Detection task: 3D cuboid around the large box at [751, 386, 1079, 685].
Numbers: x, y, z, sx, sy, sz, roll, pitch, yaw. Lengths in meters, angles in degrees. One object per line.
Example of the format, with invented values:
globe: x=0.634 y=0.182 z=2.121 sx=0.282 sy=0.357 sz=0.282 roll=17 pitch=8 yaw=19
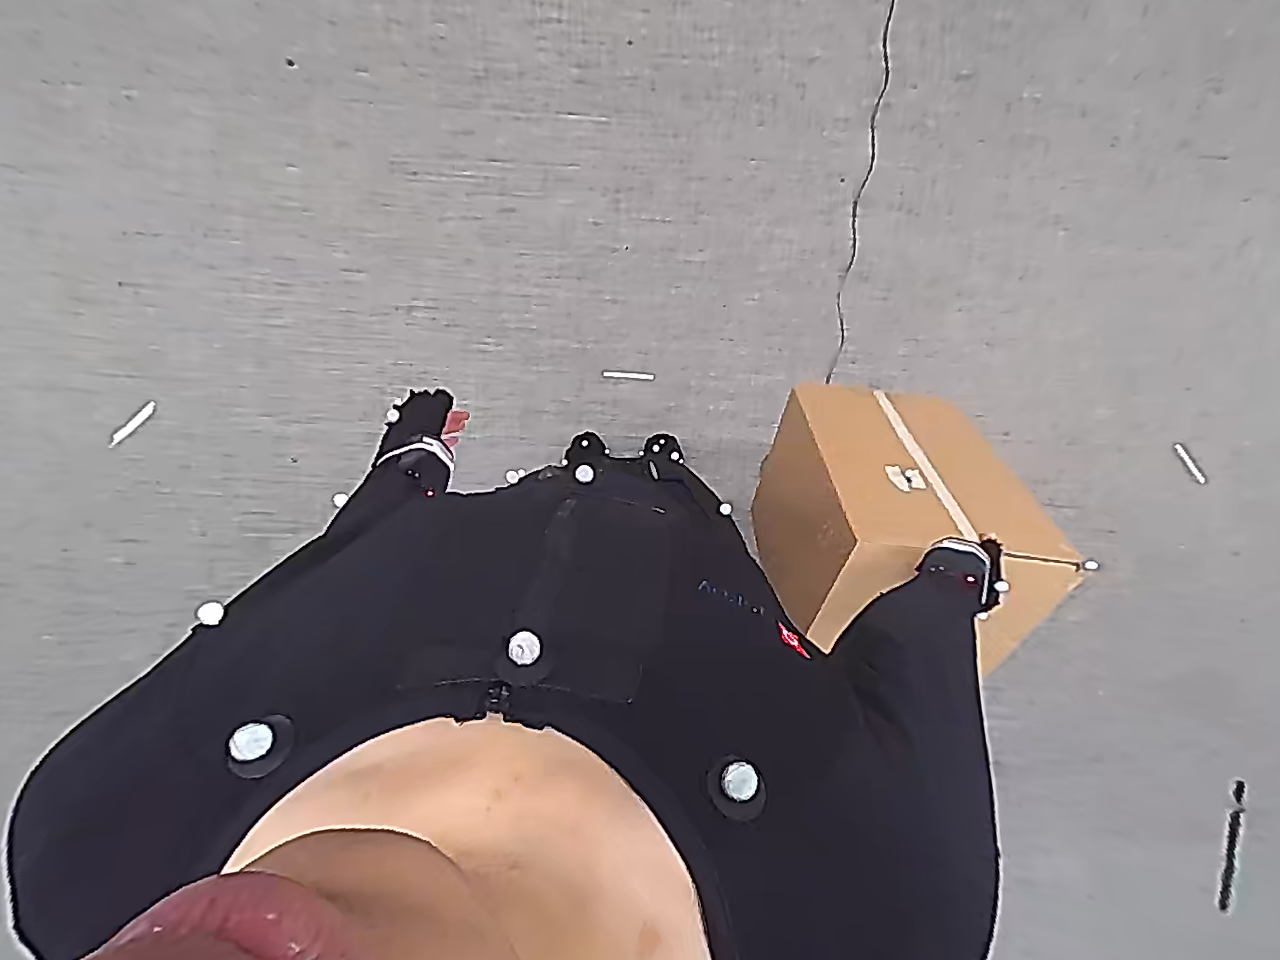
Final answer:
large box: x=0.409 y=0.086 z=0.945 sx=0.320 sy=0.408 sz=0.320 roll=7 pitch=130 yaw=-4
